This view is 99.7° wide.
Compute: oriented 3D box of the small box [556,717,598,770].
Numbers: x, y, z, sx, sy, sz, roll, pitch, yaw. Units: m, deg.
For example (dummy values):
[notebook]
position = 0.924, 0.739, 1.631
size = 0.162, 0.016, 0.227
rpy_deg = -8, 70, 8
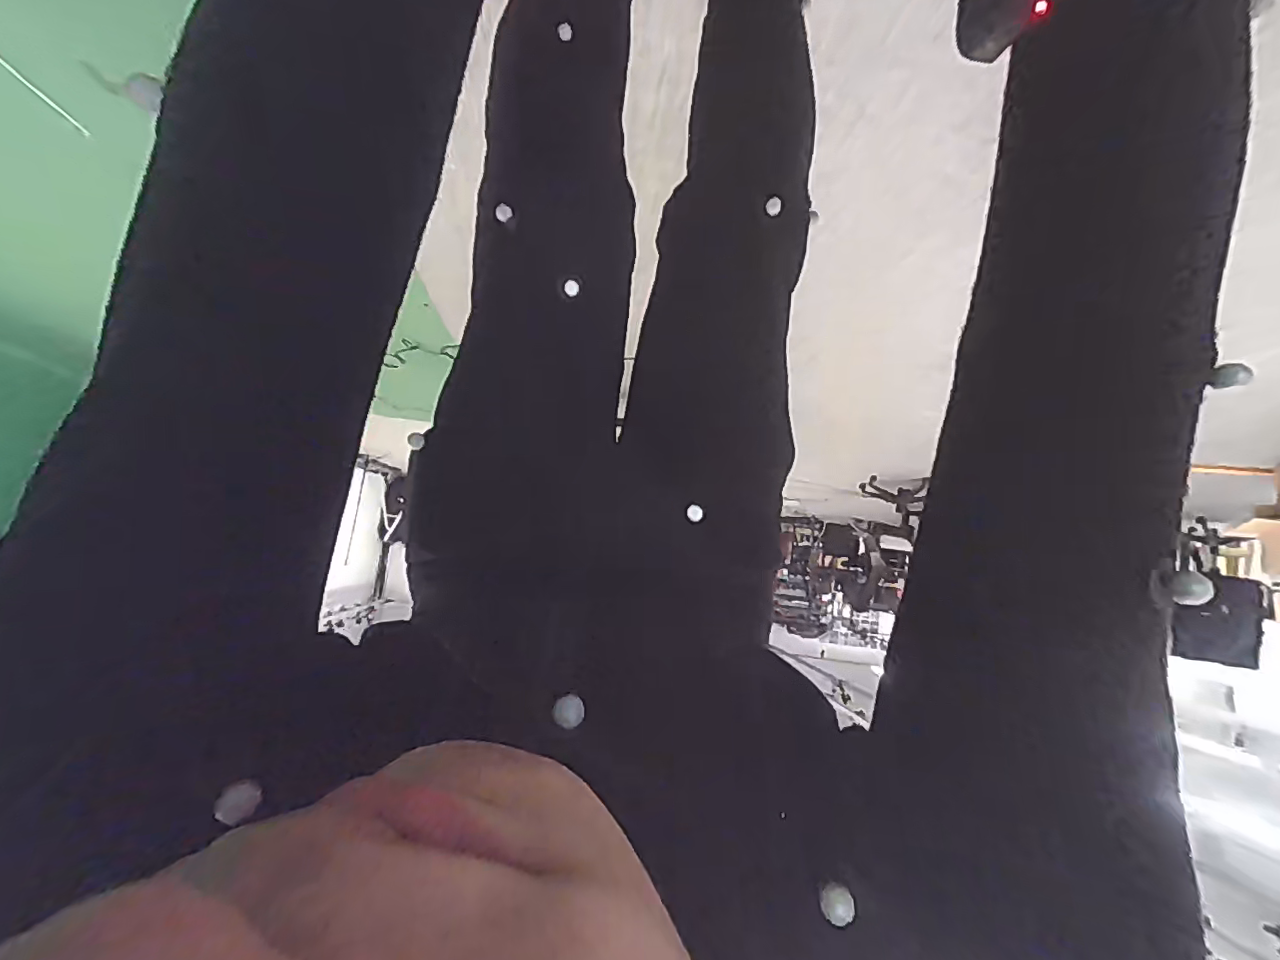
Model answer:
[small box]
position = -0.291, 1.205, 2.487
size = 0.168, 0.176, 0.179
rpy_deg = 10, 174, -7
